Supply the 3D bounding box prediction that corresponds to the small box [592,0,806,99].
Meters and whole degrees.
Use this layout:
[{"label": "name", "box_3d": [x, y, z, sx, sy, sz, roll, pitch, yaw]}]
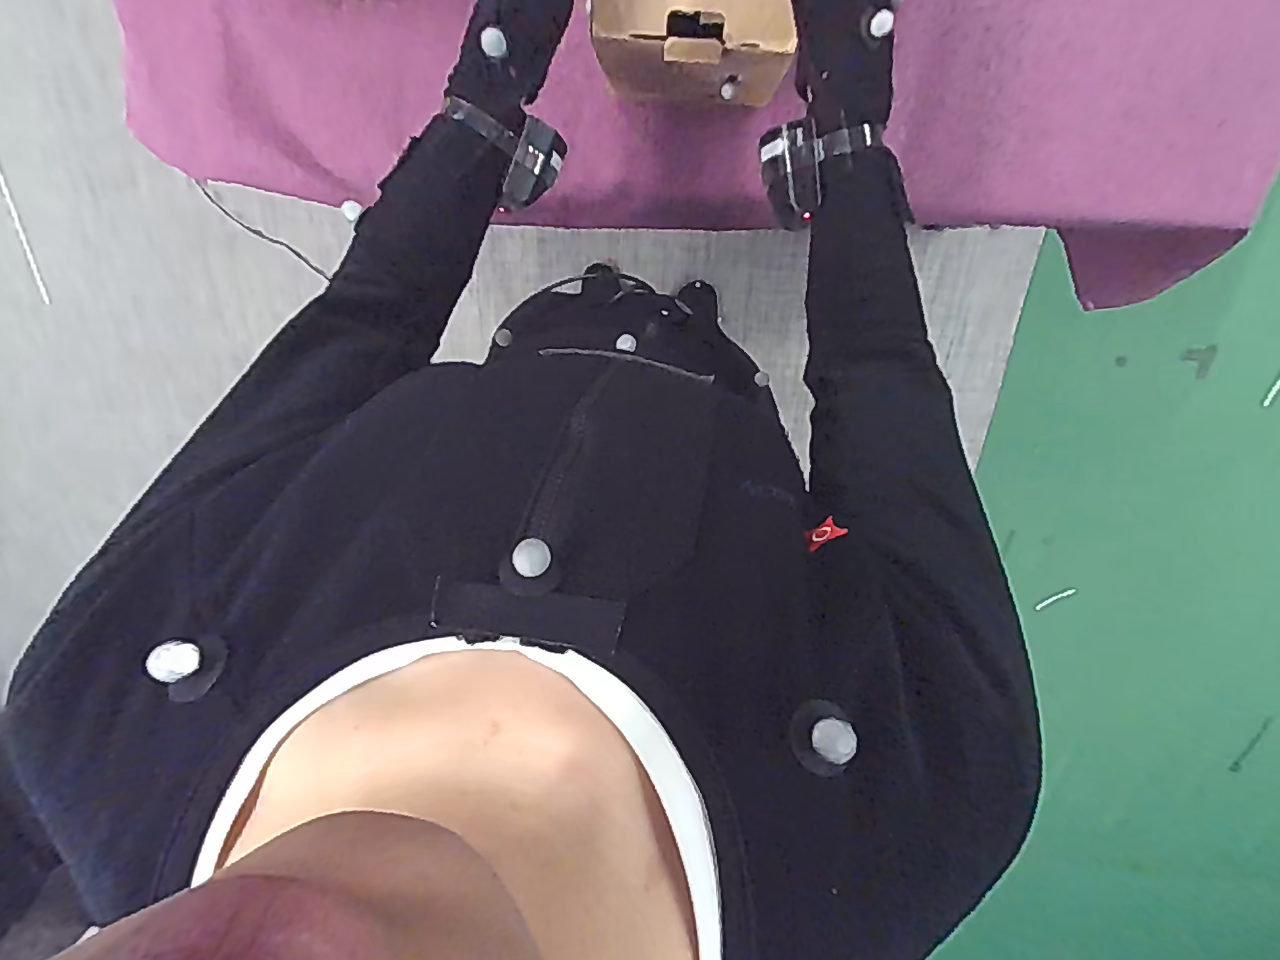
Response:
[{"label": "small box", "box_3d": [0.056, -0.451, 0.461, 0.168, 0.176, 0.179, 6, 112, 1]}]
